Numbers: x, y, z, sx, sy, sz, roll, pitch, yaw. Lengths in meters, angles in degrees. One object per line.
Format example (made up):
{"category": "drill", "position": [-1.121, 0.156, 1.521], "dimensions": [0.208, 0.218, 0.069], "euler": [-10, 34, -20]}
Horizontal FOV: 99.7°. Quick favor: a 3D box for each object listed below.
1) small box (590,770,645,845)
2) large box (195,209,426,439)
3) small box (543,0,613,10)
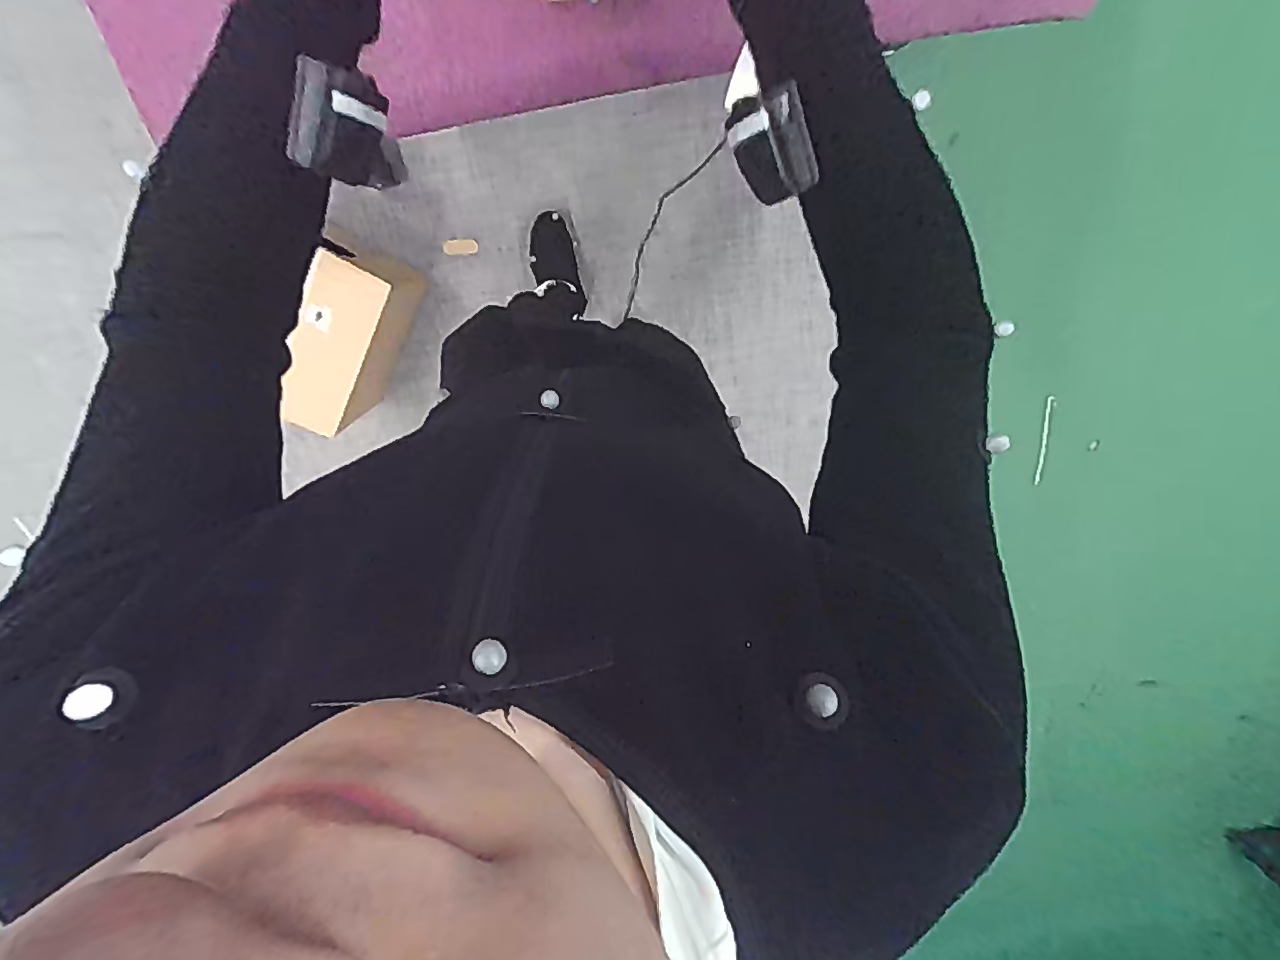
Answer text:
{"category": "small box", "position": [-0.088, 1.267, 2.099], "dimensions": [0.179, 0.176, 0.168], "euler": [-14, 113, 1]}
{"category": "large box", "position": [-0.777, -0.374, 1.317], "dimensions": [0.320, 0.320, 0.408], "euler": [26, 108, -16]}
{"category": "small box", "position": [-0.050, -0.628, 0.547], "dimensions": [0.168, 0.176, 0.179], "euler": [-9, 113, 0]}
